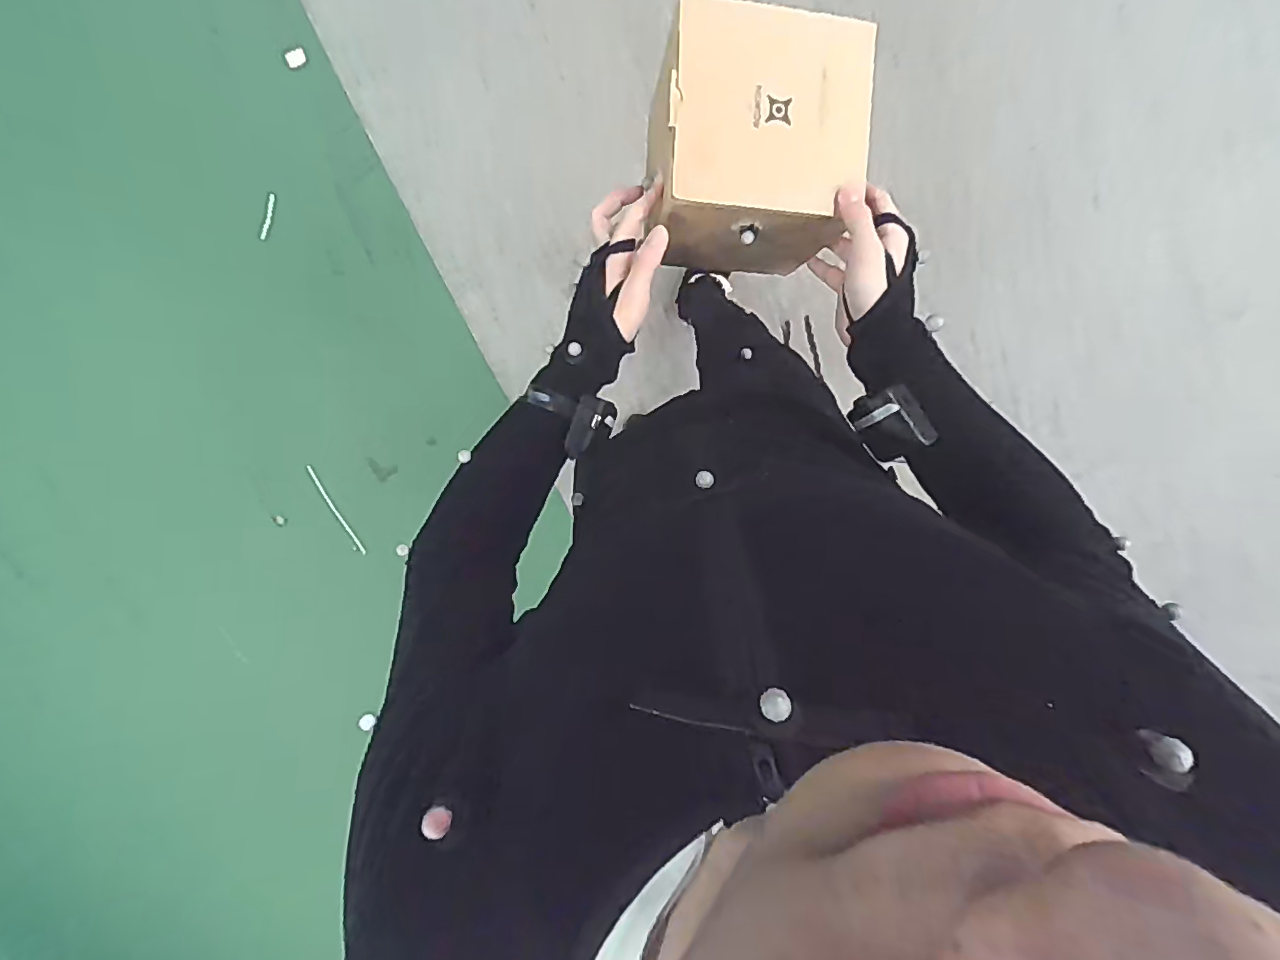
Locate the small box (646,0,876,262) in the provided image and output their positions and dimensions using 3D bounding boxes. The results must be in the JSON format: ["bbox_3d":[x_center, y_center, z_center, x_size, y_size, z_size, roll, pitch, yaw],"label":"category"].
[{"bbox_3d":[0.103,-0.331,0.536,0.179,0.176,0.168,3,93,-8],"label":"small box"}]
